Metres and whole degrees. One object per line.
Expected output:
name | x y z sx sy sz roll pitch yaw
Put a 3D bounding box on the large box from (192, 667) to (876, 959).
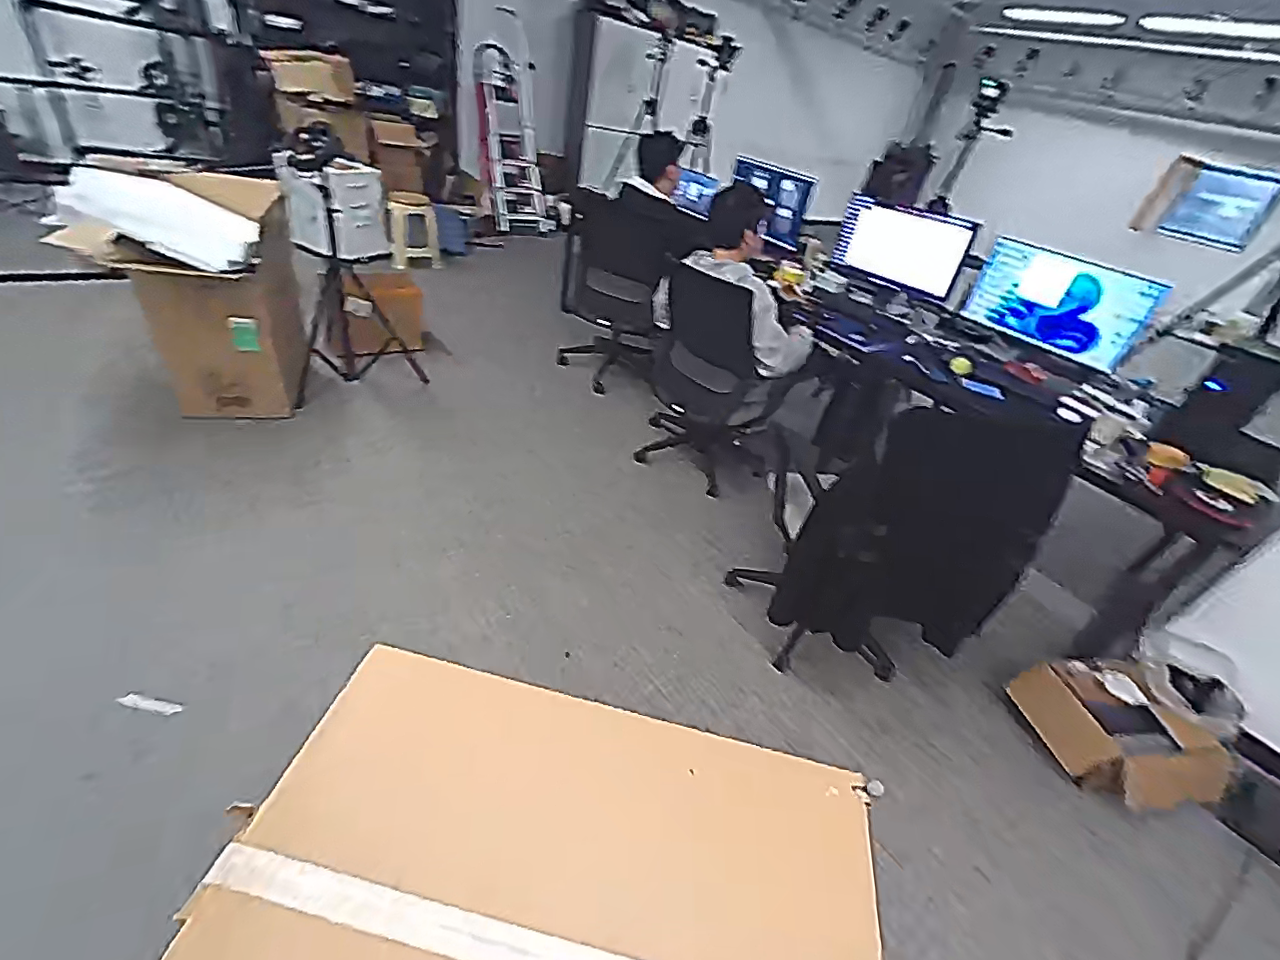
large box | -0.074 0.400 0.416 0.408 0.320 0.320 14 41 2
